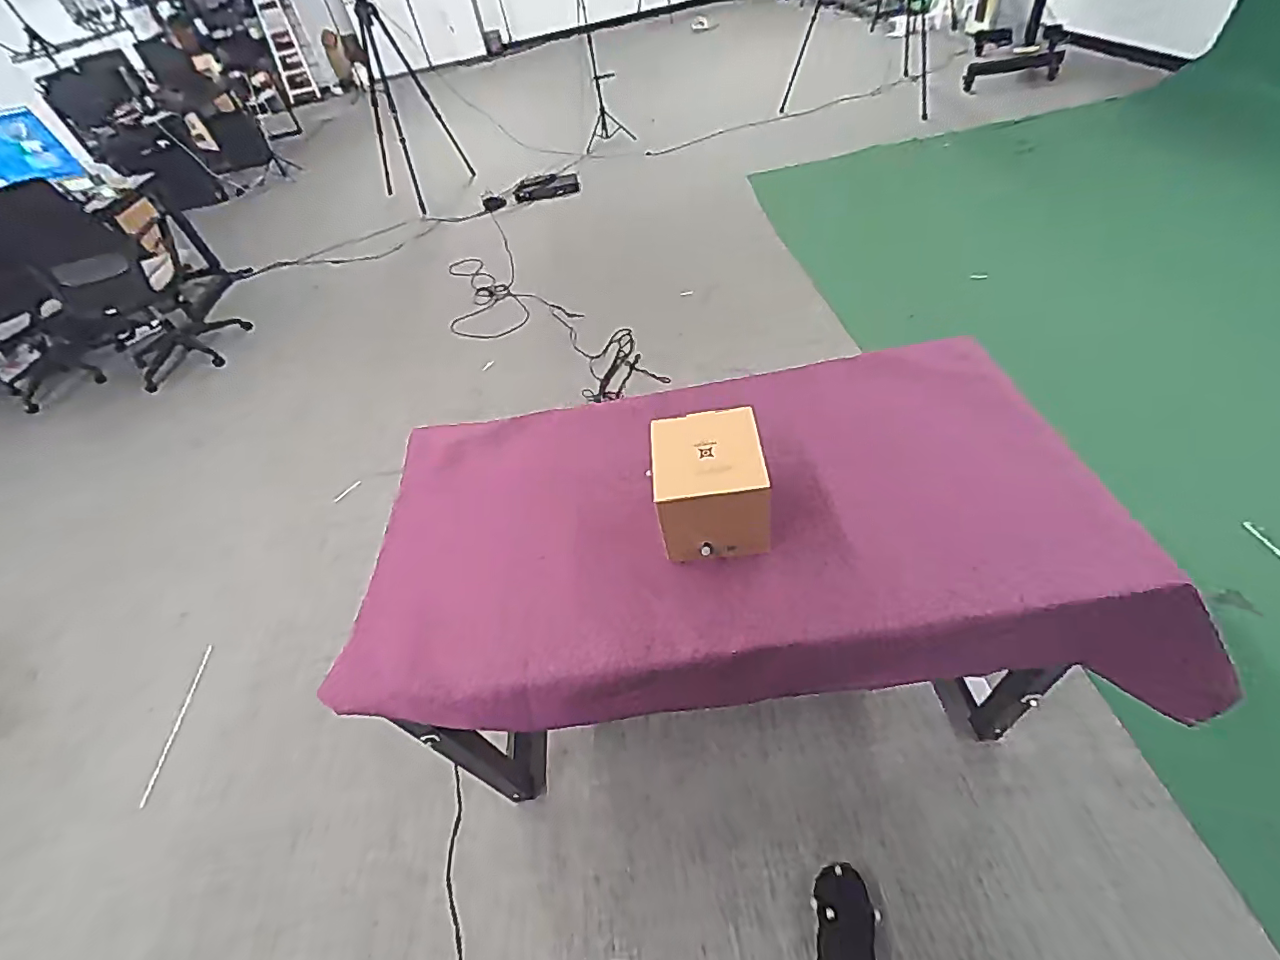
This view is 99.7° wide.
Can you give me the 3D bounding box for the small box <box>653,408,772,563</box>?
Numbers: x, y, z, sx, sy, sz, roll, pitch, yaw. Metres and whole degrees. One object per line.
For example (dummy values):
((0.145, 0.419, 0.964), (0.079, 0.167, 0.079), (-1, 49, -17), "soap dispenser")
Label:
((0.114, 0.011, 0.867), (0.168, 0.176, 0.179), (-8, 48, 7), "small box")
